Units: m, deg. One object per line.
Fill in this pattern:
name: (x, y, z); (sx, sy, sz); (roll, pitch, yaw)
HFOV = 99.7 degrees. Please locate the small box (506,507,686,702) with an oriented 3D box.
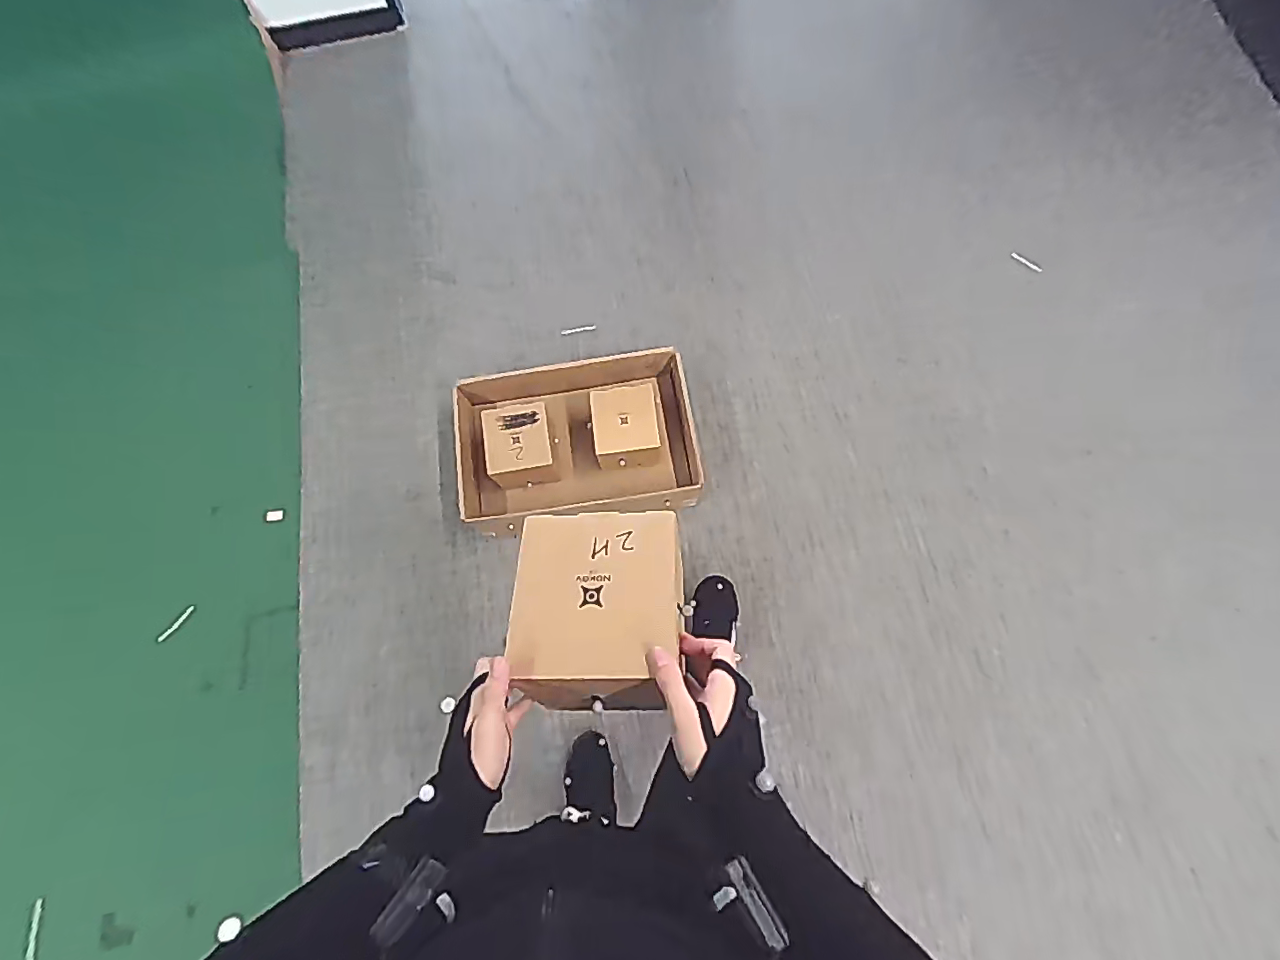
small box: (-0.035, 0.147, 0.611); (0.168, 0.176, 0.179); (-2, 58, 6)

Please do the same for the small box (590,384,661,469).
small box: (-0.034, -0.135, 1.450); (0.168, 0.176, 0.179); (-8, 74, 1)
